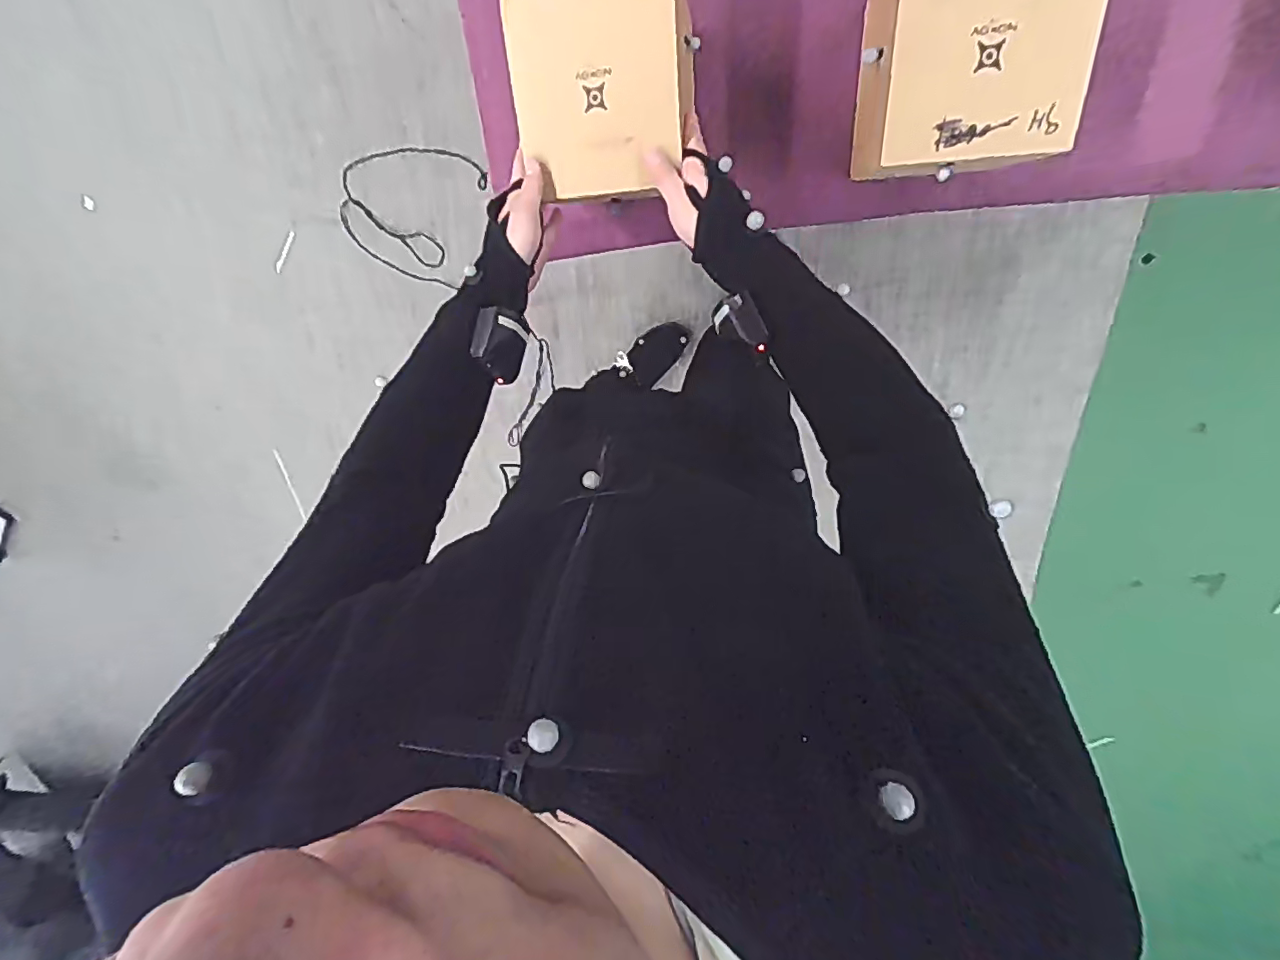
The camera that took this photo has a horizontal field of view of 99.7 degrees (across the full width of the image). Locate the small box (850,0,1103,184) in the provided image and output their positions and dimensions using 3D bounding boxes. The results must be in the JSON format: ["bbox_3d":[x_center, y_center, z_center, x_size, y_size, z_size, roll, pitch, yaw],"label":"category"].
[{"bbox_3d":[0.318,-0.409,0.545,0.168,0.176,0.179,1,115,10],"label":"small box"}]
